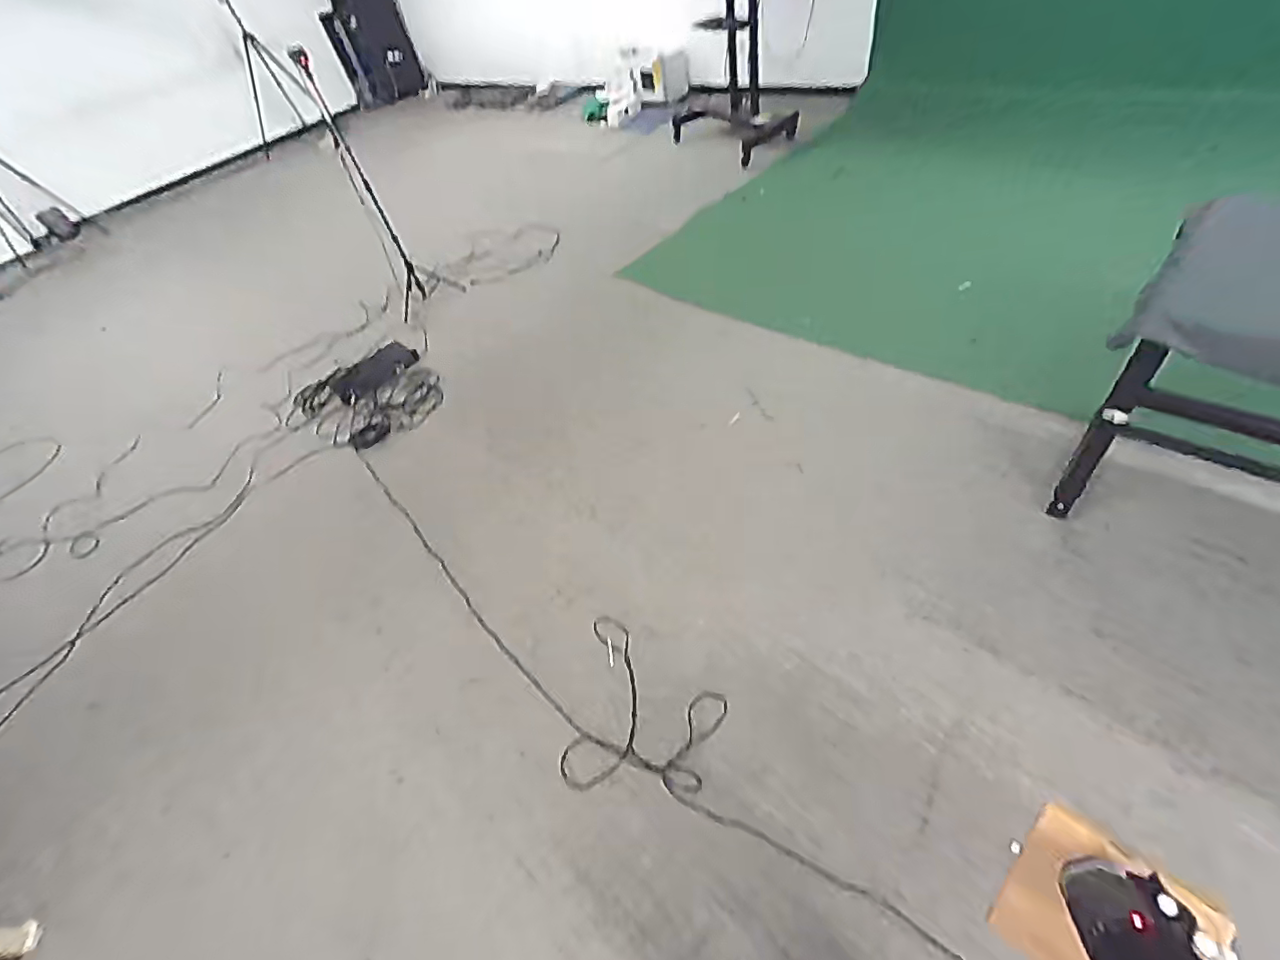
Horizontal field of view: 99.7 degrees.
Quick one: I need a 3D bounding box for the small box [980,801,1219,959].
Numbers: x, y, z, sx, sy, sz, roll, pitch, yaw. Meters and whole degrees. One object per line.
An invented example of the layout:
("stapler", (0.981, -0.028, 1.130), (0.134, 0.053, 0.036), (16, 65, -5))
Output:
("small box", (0.539, 0.522, 0.649), (0.168, 0.179, 0.176), (27, 83, 46))
